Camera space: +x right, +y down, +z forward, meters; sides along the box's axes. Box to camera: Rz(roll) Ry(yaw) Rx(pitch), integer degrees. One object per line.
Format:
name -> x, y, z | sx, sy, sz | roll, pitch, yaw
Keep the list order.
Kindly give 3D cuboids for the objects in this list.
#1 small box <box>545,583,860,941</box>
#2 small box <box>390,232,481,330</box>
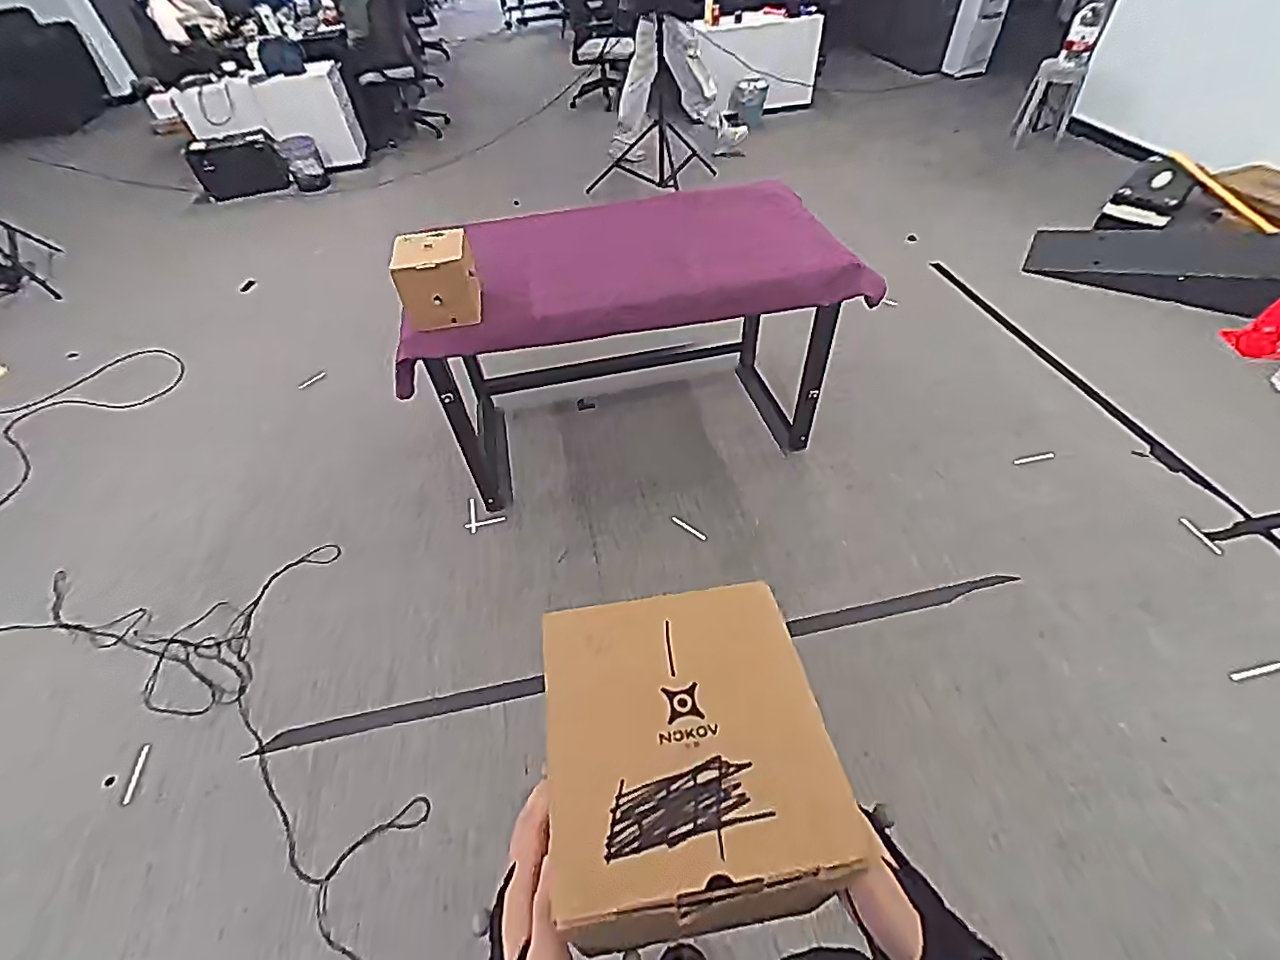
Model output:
small box -> 0.027, 0.202, 0.387 | 0.168, 0.176, 0.179 | -7, 44, -5
small box -> -0.500, -0.488, 1.348 | 0.168, 0.176, 0.179 | -10, 49, -5
